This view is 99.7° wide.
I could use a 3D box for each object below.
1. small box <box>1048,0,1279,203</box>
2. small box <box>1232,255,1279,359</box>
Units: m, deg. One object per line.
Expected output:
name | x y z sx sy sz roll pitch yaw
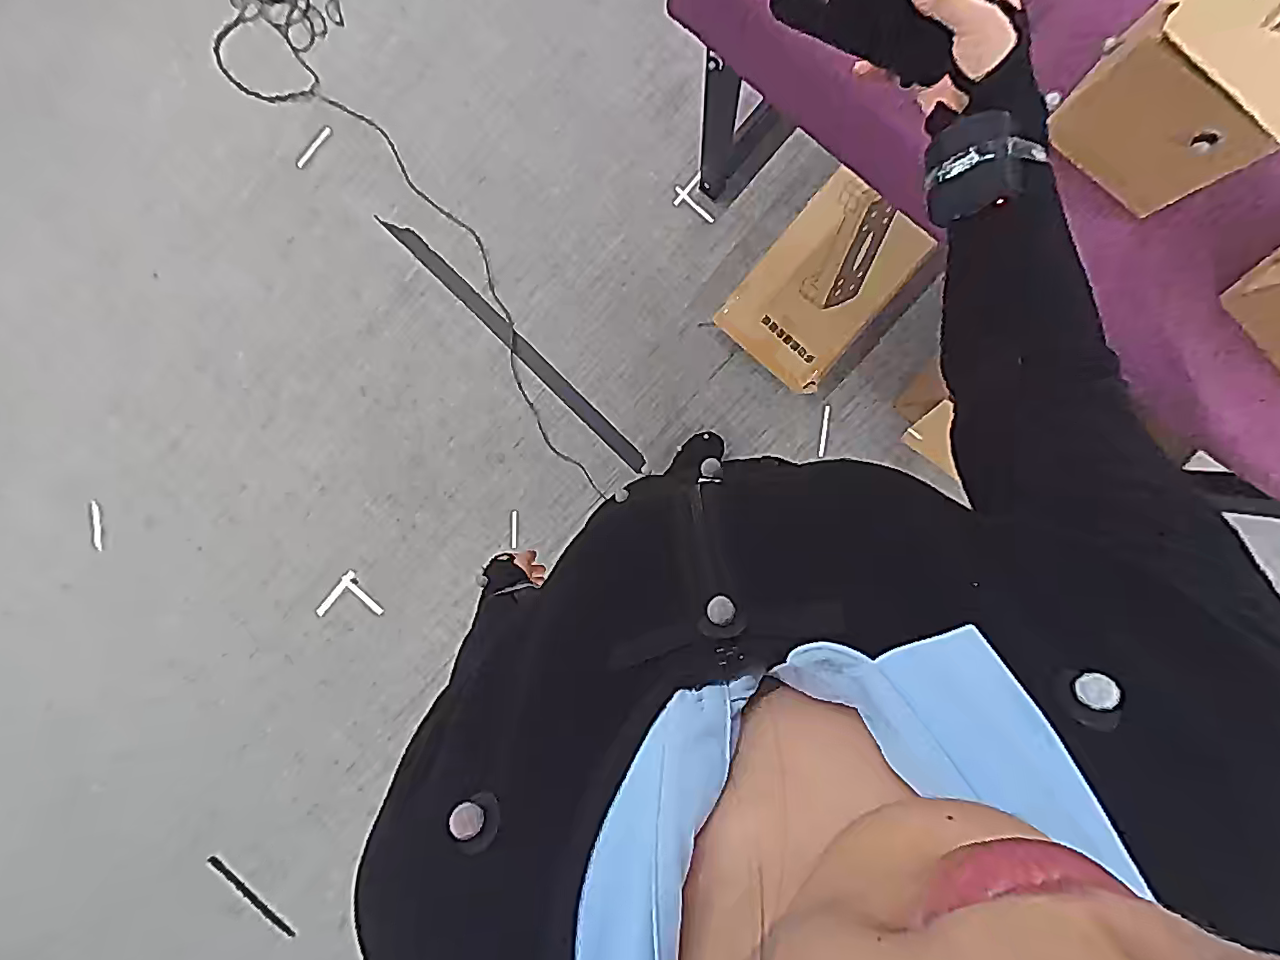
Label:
small box | 0.625 -0.446 0.601 0.179 0.176 0.168 41 94 1
small box | 0.847 -0.218 0.598 0.168 0.176 0.179 -42 90 6
